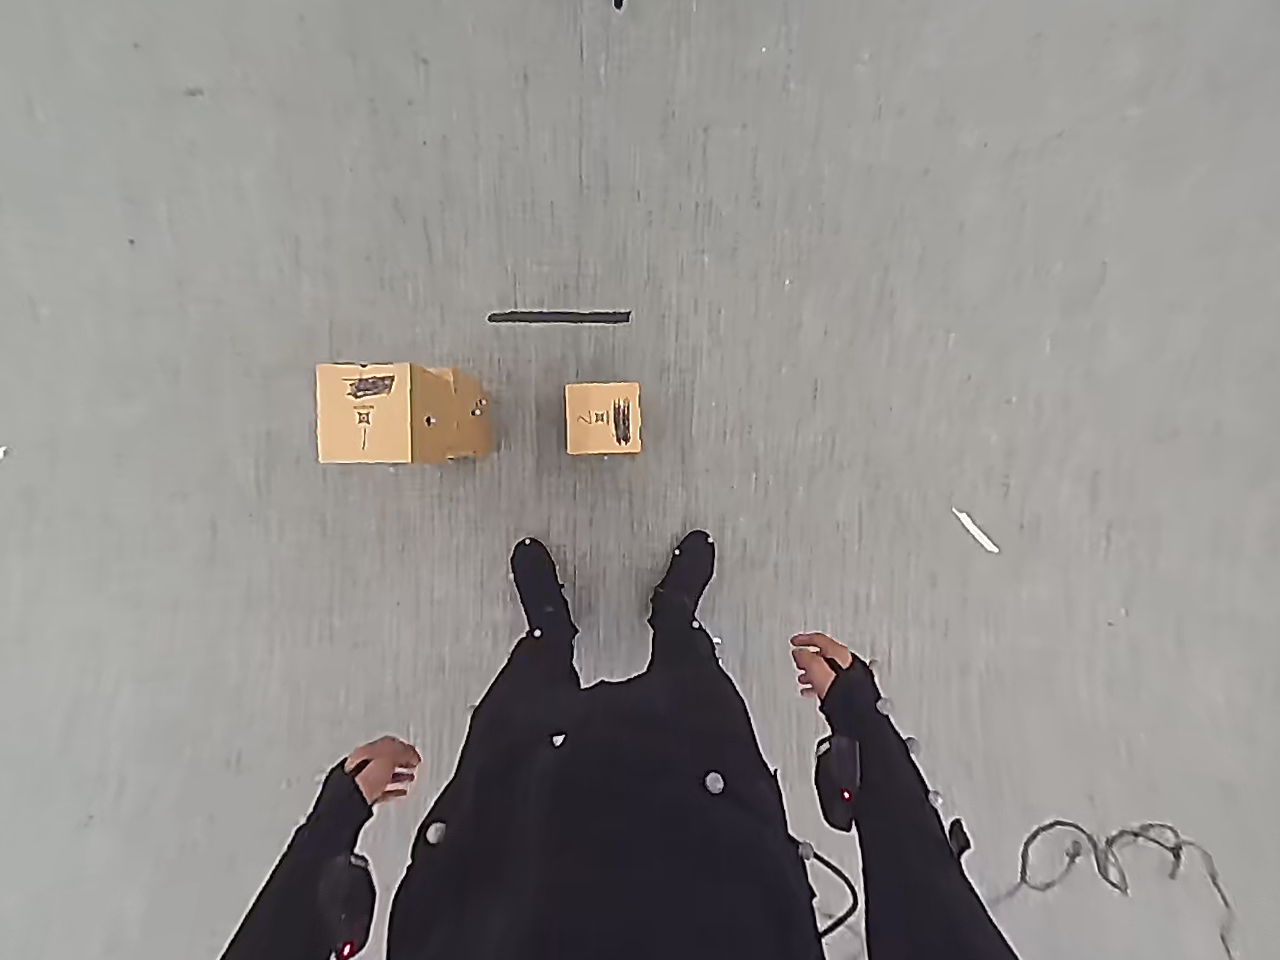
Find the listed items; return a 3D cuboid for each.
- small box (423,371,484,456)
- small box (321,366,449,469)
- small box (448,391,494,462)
[{"bbox_3d":[-0.453,-0.137,1.177,0.179,0.176,0.168,-4,91,0],"label":"small box"},{"bbox_3d":[-0.468,-0.110,1.014,0.168,0.176,0.179,0,92,1],"label":"small box"},{"bbox_3d":[-0.467,-0.136,1.341,0.168,0.176,0.179,-3,91,0],"label":"small box"}]
